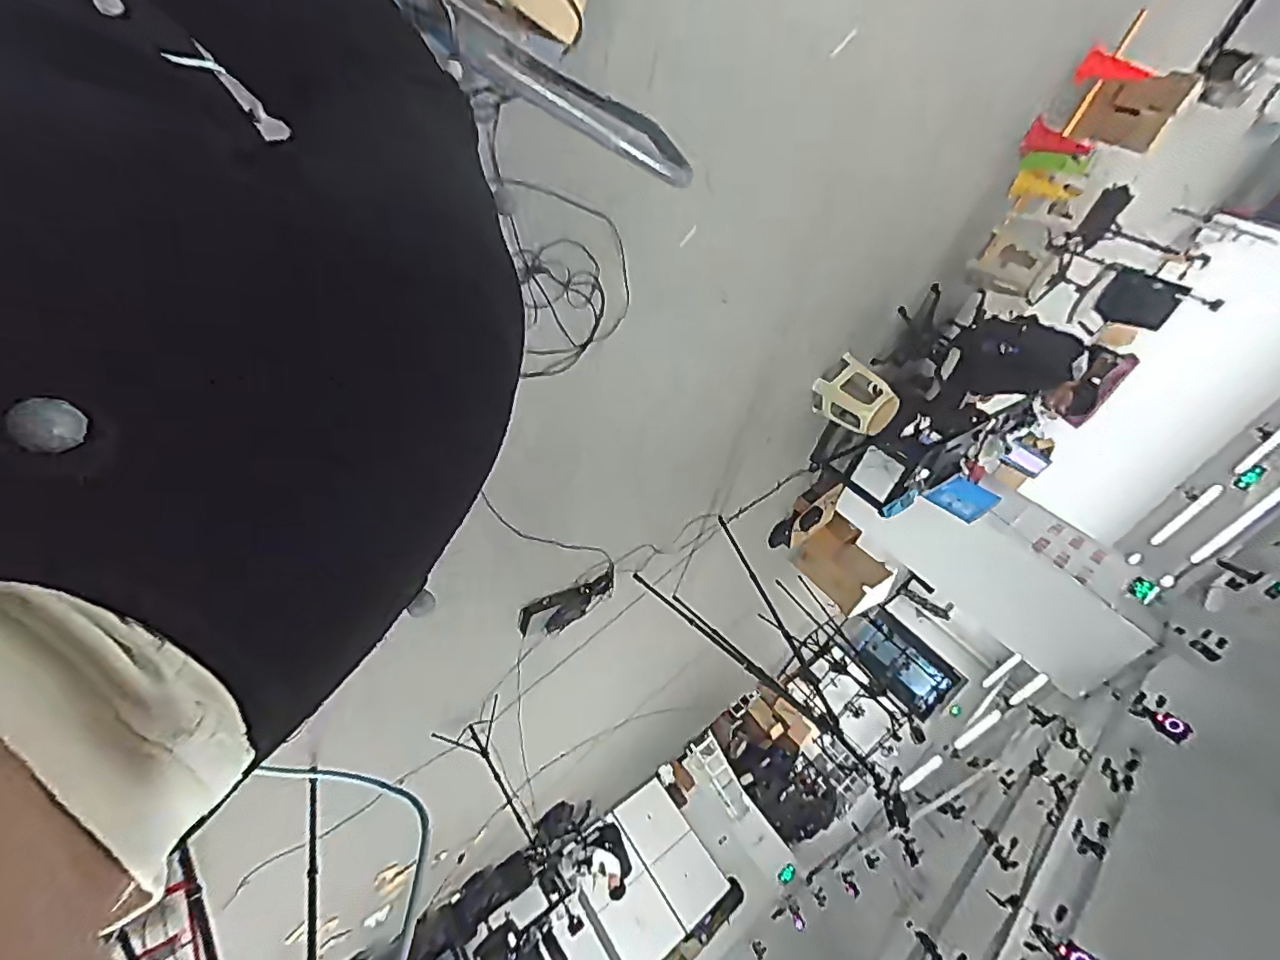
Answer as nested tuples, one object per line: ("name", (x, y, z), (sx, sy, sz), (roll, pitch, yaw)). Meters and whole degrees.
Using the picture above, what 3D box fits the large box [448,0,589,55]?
("large box", (-0.241, -1.027, 0.891), (0.320, 0.320, 0.408), (-3, 129, -49))
